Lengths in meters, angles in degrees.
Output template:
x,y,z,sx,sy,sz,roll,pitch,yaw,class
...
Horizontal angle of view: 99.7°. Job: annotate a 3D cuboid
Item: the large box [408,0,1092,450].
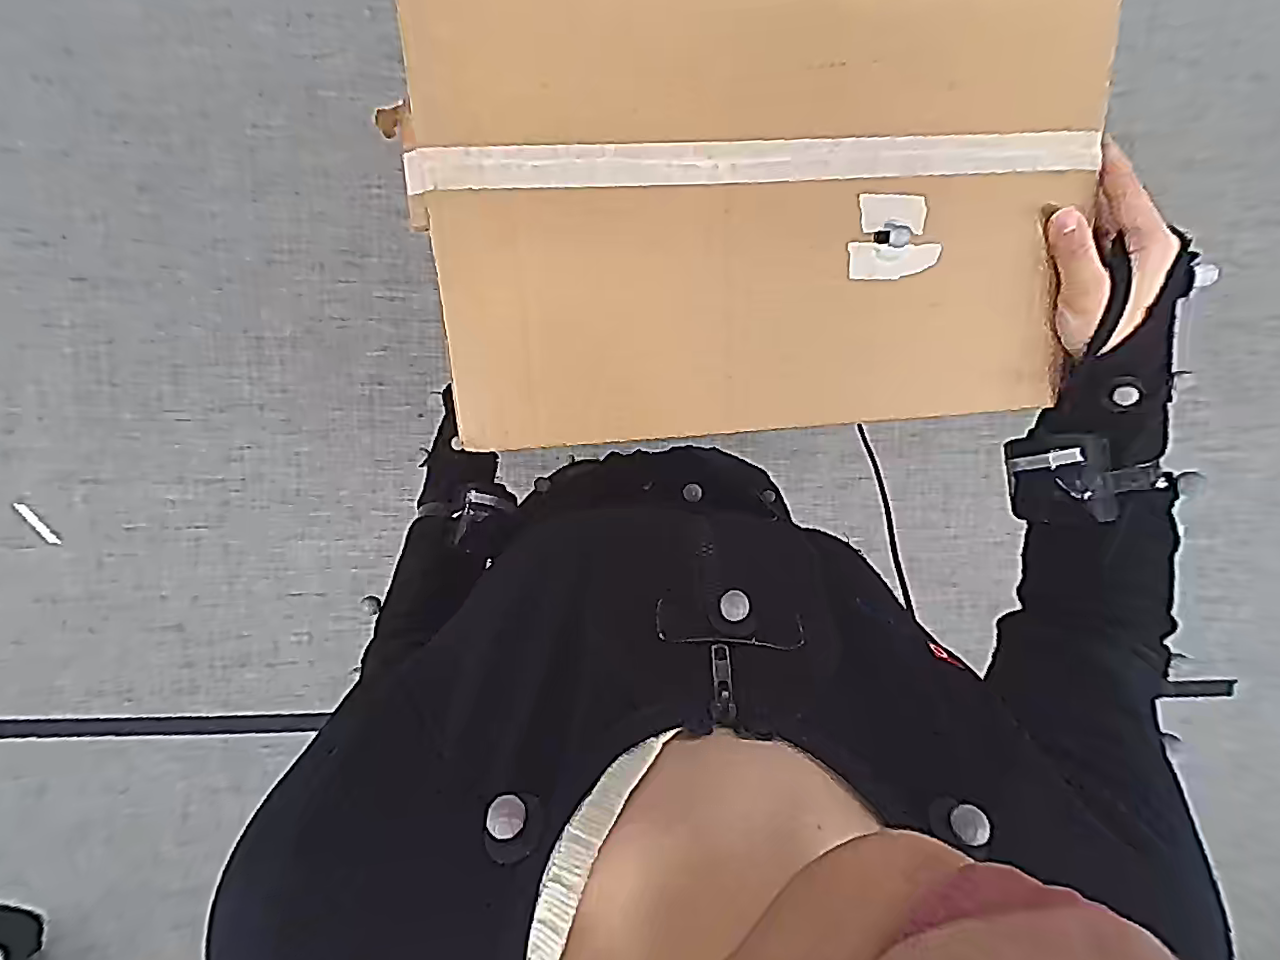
x,y,z,sx,sy,sz,roll,pitch,yaw,class
0.059,-0.221,0.468,0.408,0.320,0.320,-6,105,-7,large box
